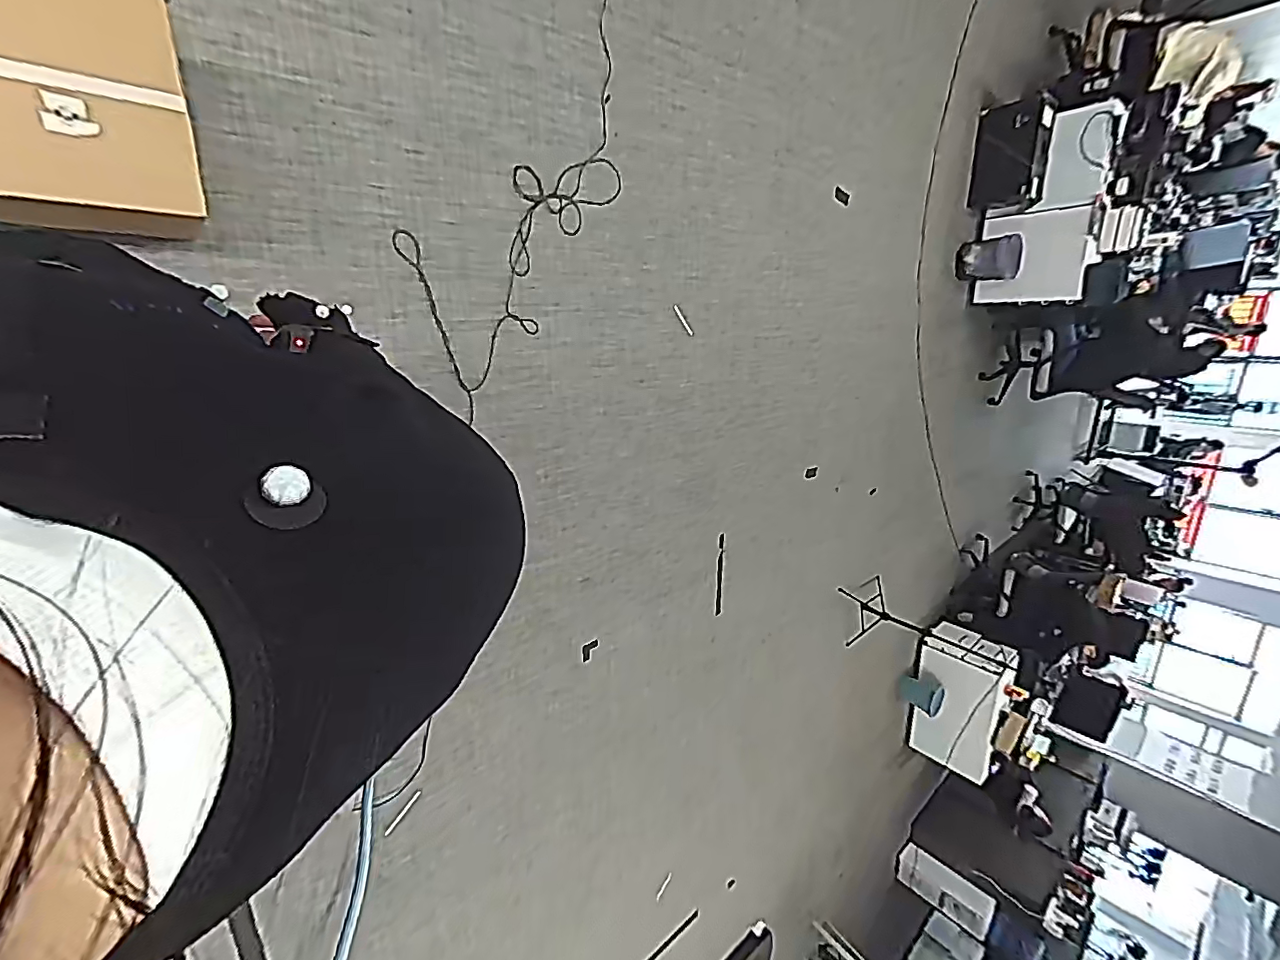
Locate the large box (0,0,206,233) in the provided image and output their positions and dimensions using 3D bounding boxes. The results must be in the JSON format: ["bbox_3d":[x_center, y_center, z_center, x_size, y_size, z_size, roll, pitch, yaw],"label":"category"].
[{"bbox_3d":[-0.945,-0.574,0.809,0.408,0.320,0.320,-13,111,-40],"label":"large box"}]
